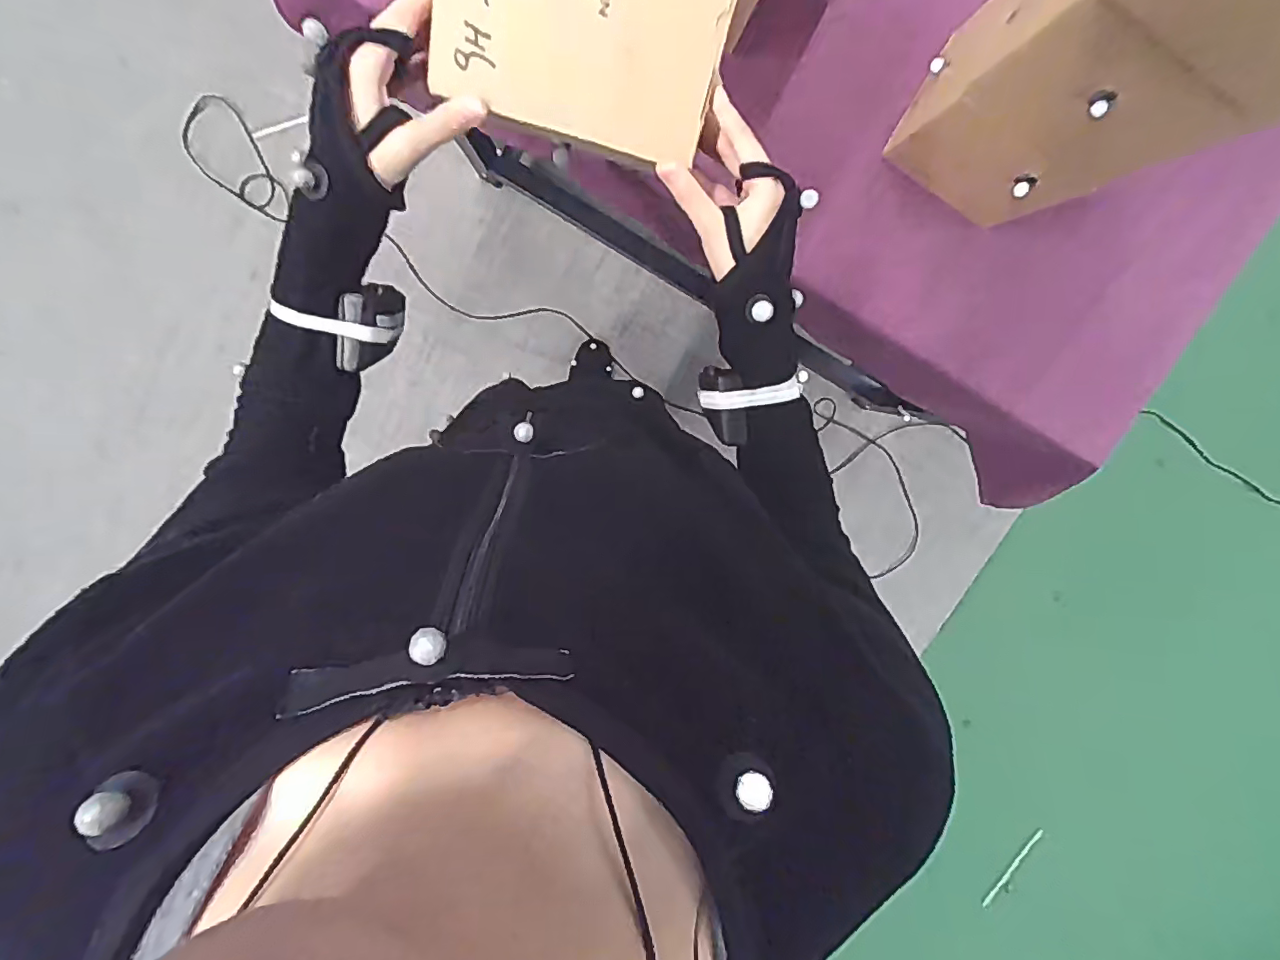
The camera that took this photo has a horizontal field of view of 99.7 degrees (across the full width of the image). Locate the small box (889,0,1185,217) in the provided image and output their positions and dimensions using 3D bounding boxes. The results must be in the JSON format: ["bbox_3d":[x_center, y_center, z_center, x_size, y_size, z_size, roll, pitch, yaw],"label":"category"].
[{"bbox_3d":[0.431,-0.426,0.614,0.179,0.176,0.168,29,99,-9],"label":"small box"}]

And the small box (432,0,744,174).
[{"bbox_3d":[-0.034,-0.335,0.384,0.179,0.176,0.168,10,116,-14],"label":"small box"}]
